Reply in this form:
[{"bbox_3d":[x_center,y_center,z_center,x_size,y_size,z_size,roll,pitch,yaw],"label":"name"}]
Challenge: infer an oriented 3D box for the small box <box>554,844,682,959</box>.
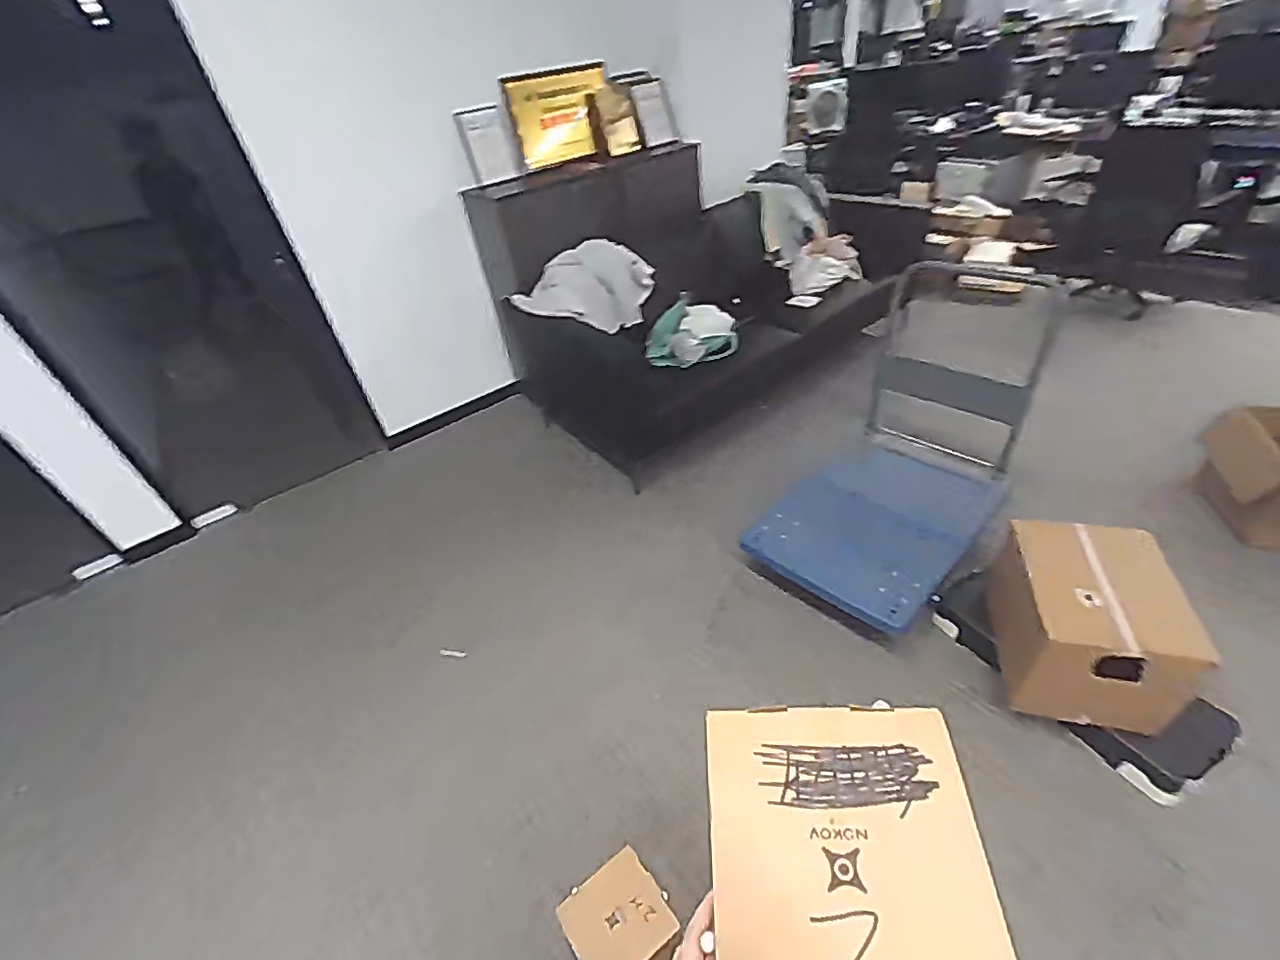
[{"bbox_3d":[-0.035,0.848,1.022,0.179,0.176,0.168,-28,43,-24],"label":"small box"}]
